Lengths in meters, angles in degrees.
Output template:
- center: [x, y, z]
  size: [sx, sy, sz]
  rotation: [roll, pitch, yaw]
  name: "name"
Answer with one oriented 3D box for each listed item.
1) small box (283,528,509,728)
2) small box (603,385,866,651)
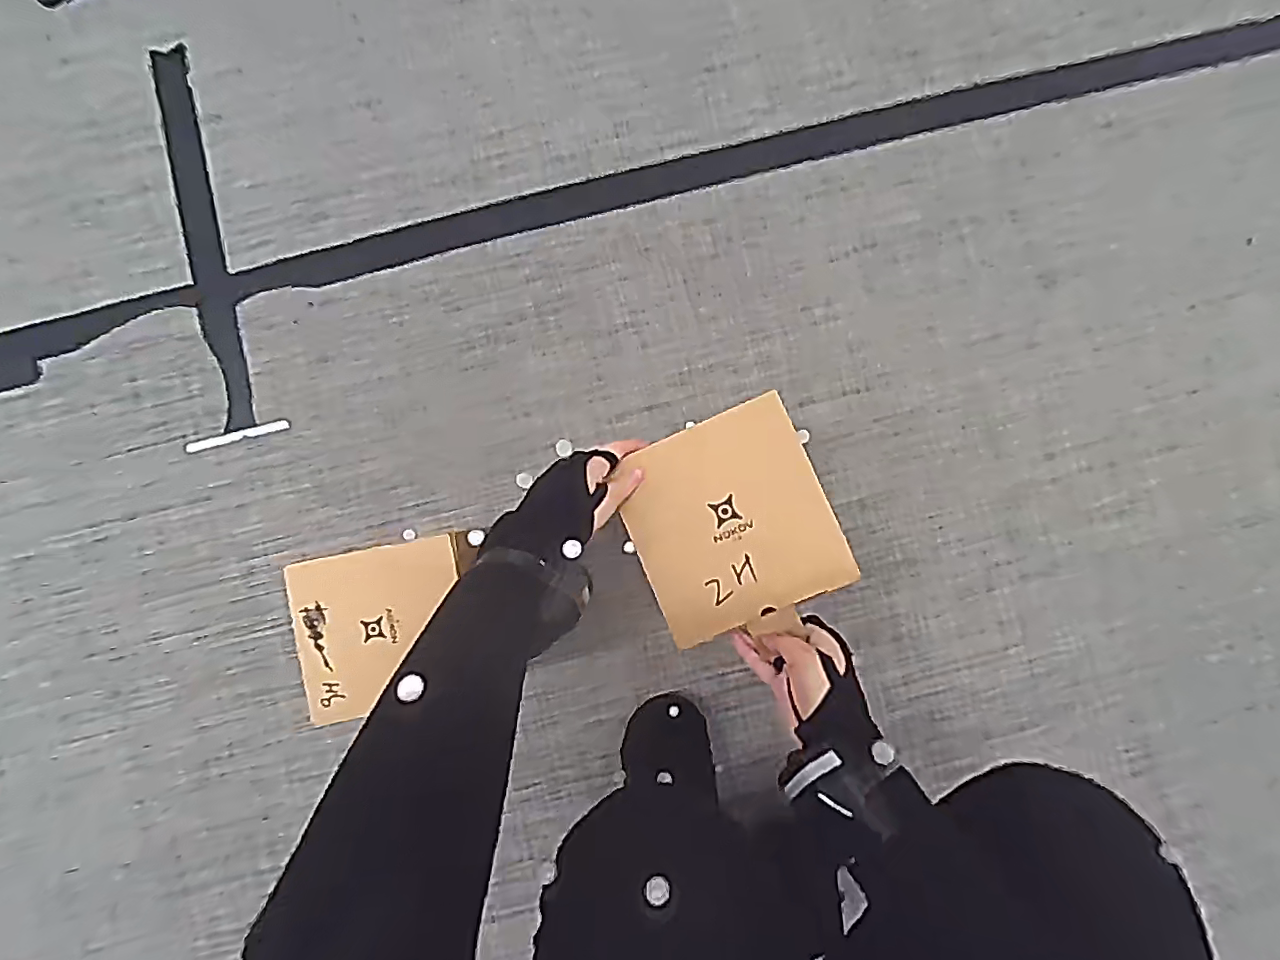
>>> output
- center: [-0.256, 0.152, 0.614]
  size: [0.179, 0.176, 0.168]
  rotation: [-11, 88, -1]
  name: "small box"
- center: [0.082, 0.035, 0.520]
  size: [0.168, 0.176, 0.179]
  rotation: [-24, 85, 6]
  name: "small box"
